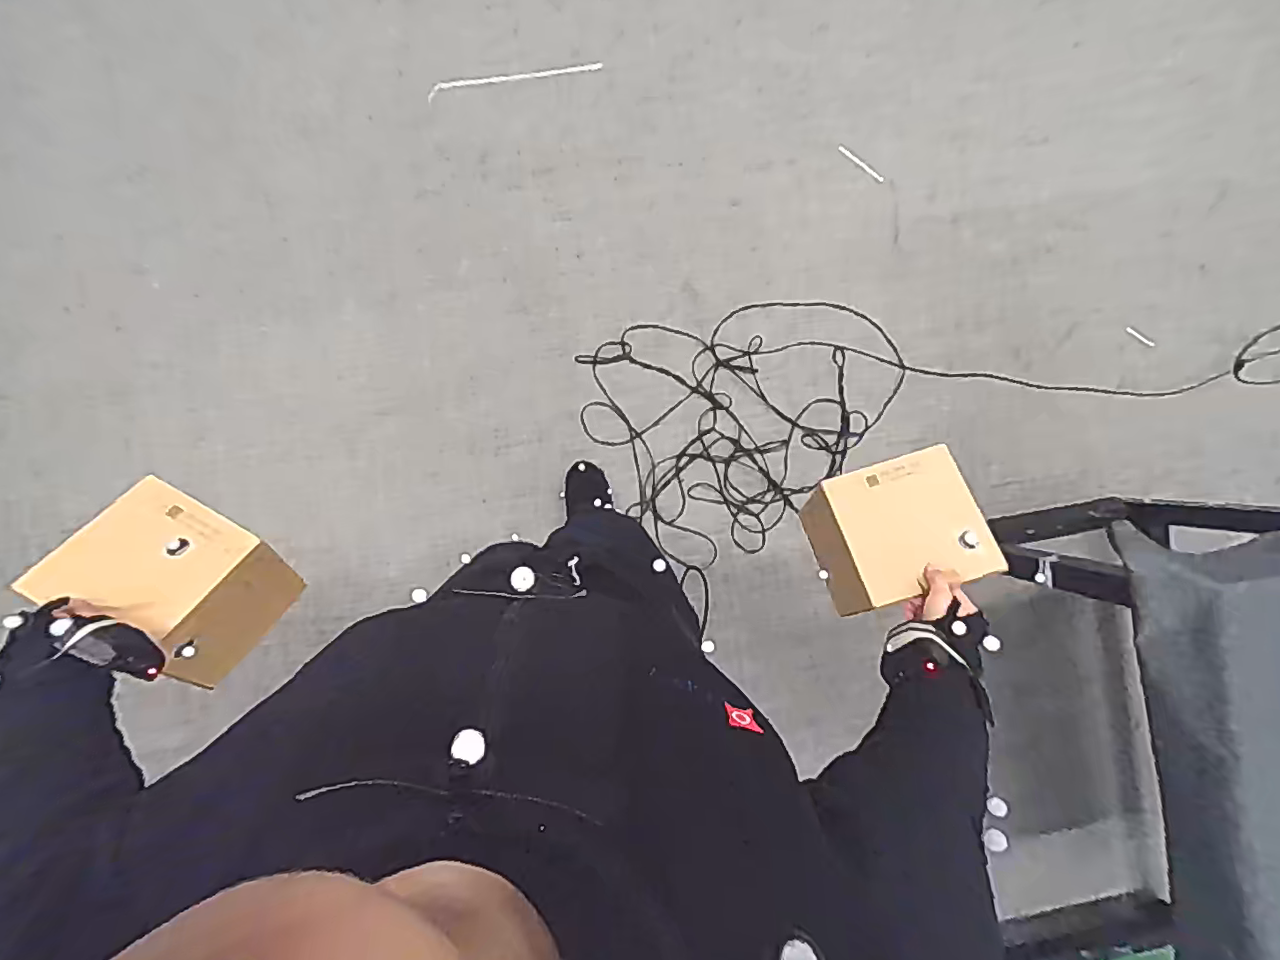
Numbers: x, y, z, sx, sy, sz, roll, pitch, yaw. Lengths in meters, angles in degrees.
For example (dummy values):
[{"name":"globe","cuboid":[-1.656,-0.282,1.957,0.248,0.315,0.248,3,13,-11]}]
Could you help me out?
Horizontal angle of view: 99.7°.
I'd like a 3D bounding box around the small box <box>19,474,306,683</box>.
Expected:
[{"name":"small box","cuboid":[-0.565,0.125,0.677,0.168,0.179,0.176,27,59,4]}]
